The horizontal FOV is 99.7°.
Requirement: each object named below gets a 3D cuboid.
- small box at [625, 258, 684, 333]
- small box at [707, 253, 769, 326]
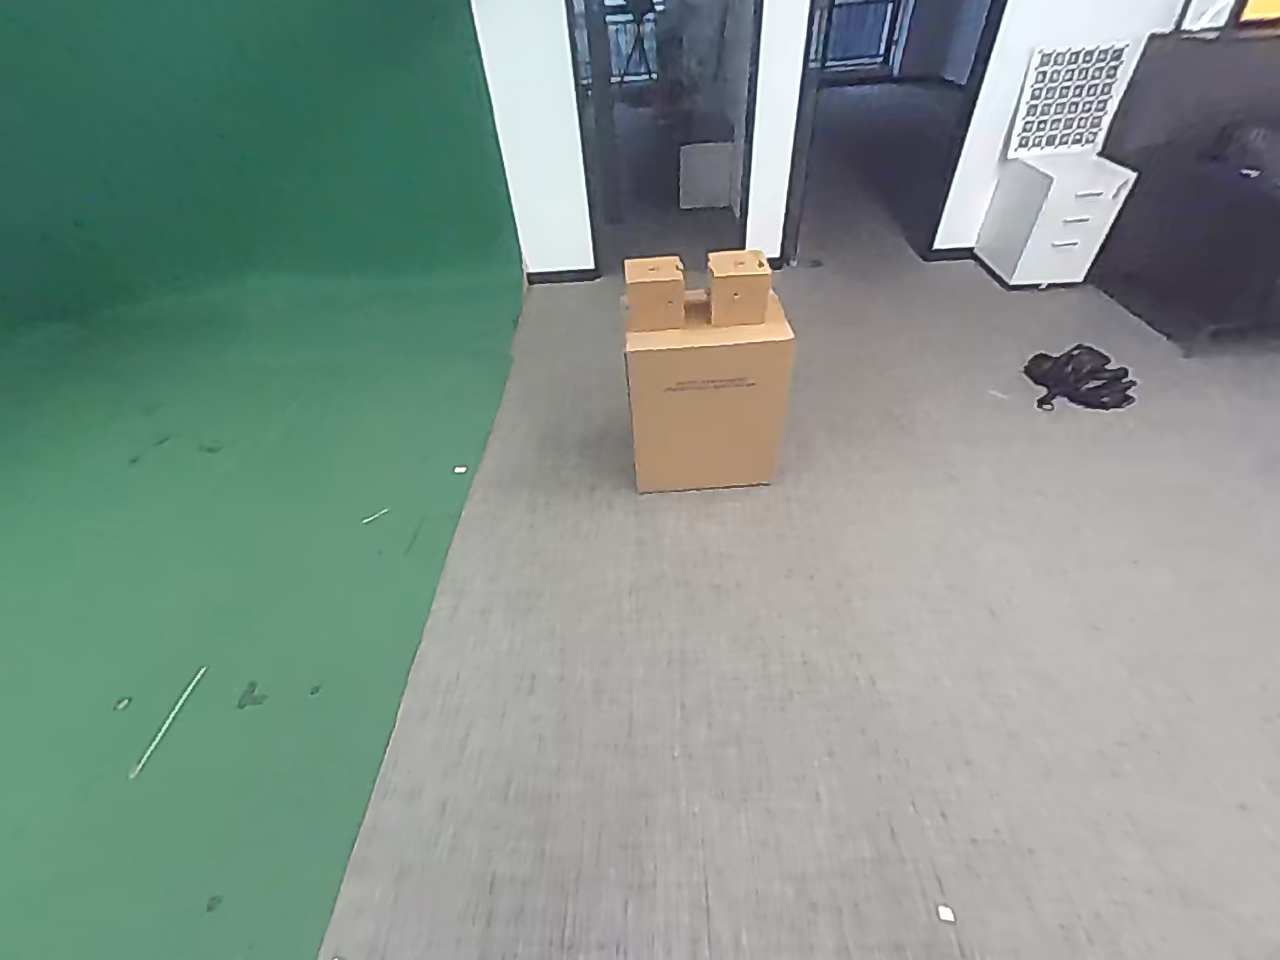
[{"bbox_3d":[0.047,-0.590,1.738,0.179,0.176,0.168,-5,46,1],"label":"small box"},{"bbox_3d":[0.308,-0.608,1.734,0.179,0.176,0.168,-3,47,2],"label":"small box"}]
